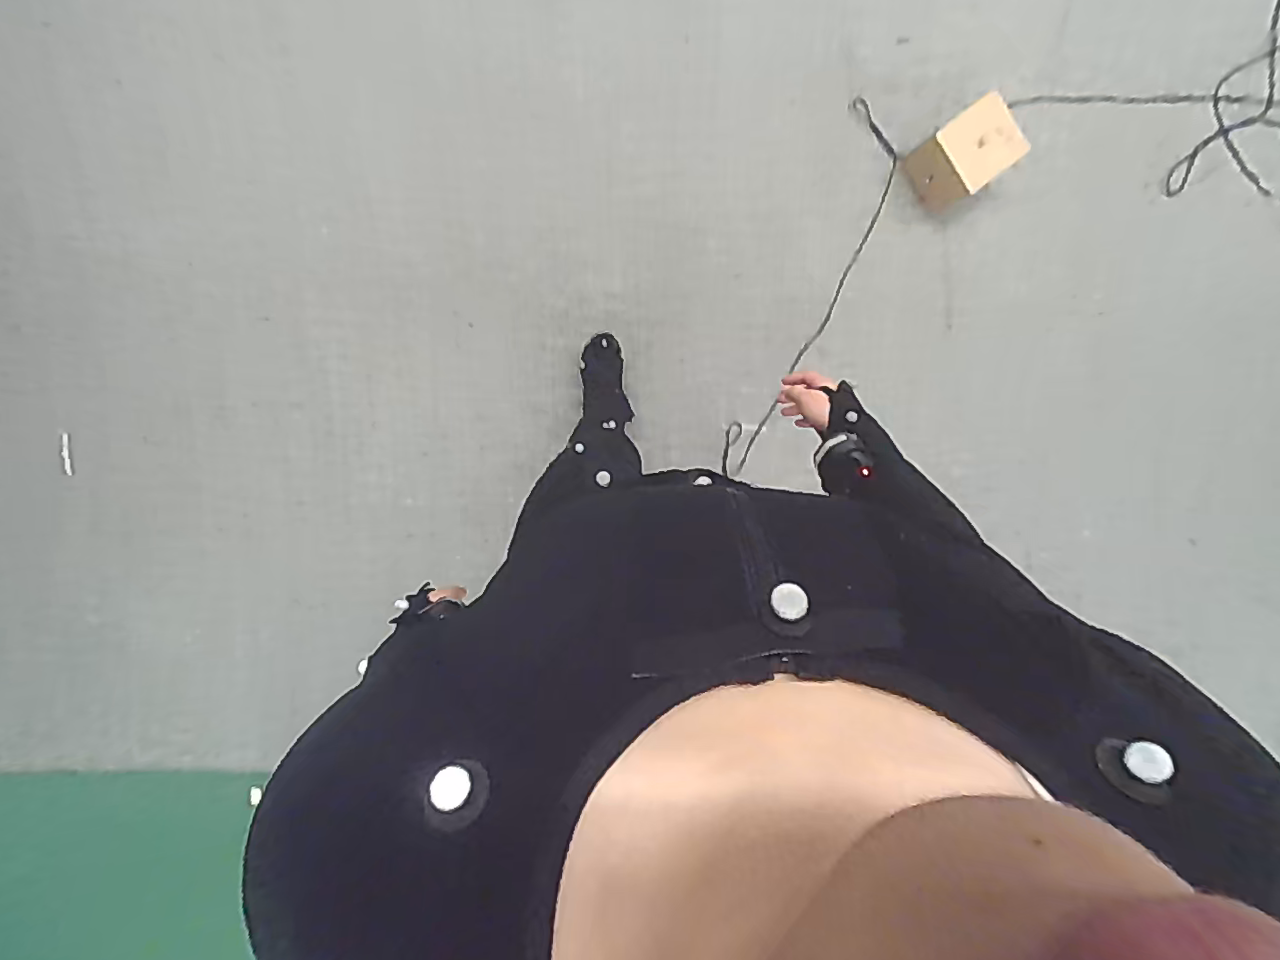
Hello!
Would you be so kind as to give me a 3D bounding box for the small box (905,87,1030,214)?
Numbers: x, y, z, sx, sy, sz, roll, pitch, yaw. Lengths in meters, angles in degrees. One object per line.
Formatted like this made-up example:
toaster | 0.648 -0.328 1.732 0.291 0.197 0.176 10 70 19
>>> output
small box | 0.784 -0.790 1.321 0.179 0.176 0.168 -37 97 2
